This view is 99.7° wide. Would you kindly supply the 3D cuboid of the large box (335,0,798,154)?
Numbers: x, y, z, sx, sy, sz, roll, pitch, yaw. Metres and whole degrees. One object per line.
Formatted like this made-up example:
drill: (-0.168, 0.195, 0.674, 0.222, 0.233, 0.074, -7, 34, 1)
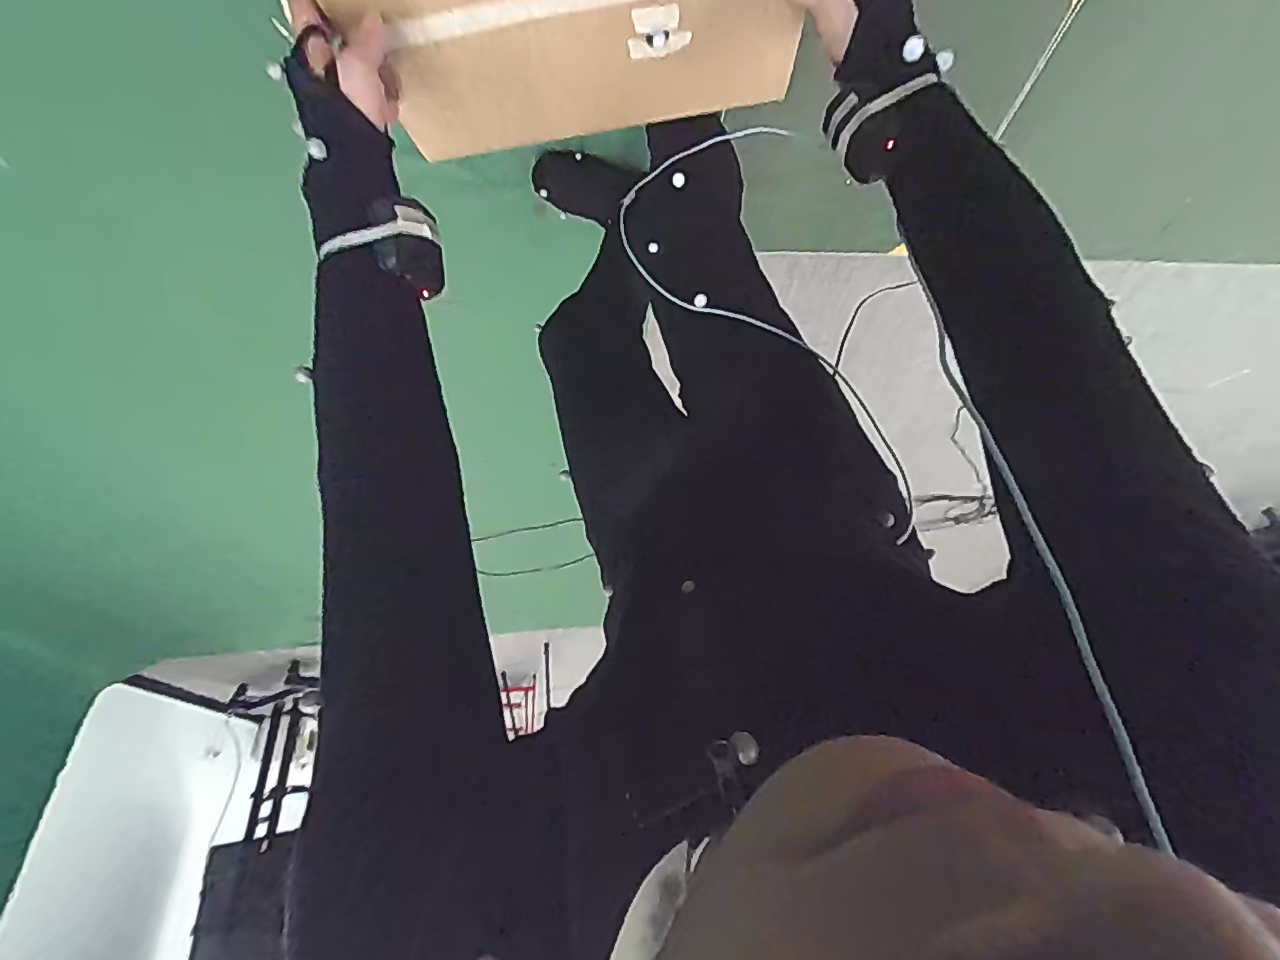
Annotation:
large box: (-0.076, -0.565, 0.471, 0.408, 0.320, 0.320, -9, 174, 3)
